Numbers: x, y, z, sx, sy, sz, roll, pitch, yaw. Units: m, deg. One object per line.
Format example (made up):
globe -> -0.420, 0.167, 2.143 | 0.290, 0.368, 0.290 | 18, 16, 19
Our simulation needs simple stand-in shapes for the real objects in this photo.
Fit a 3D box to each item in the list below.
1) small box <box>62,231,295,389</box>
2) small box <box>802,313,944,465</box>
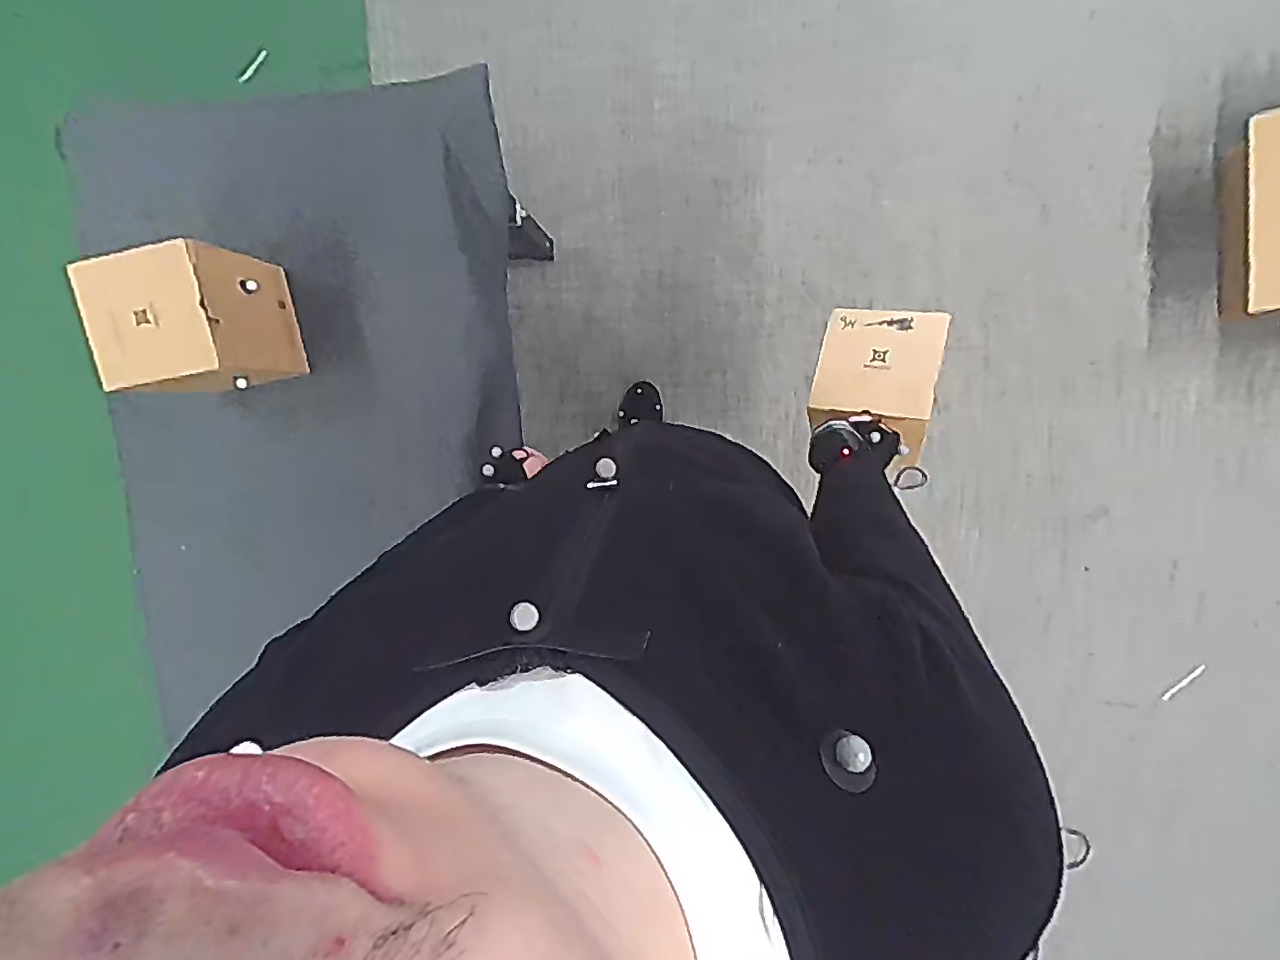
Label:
small box -> -0.625, -0.225, 0.761 | 0.179, 0.176, 0.168 | -9, 96, 6
small box -> 0.367, -0.139, 0.853 | 0.168, 0.176, 0.179 | 11, 75, 26
